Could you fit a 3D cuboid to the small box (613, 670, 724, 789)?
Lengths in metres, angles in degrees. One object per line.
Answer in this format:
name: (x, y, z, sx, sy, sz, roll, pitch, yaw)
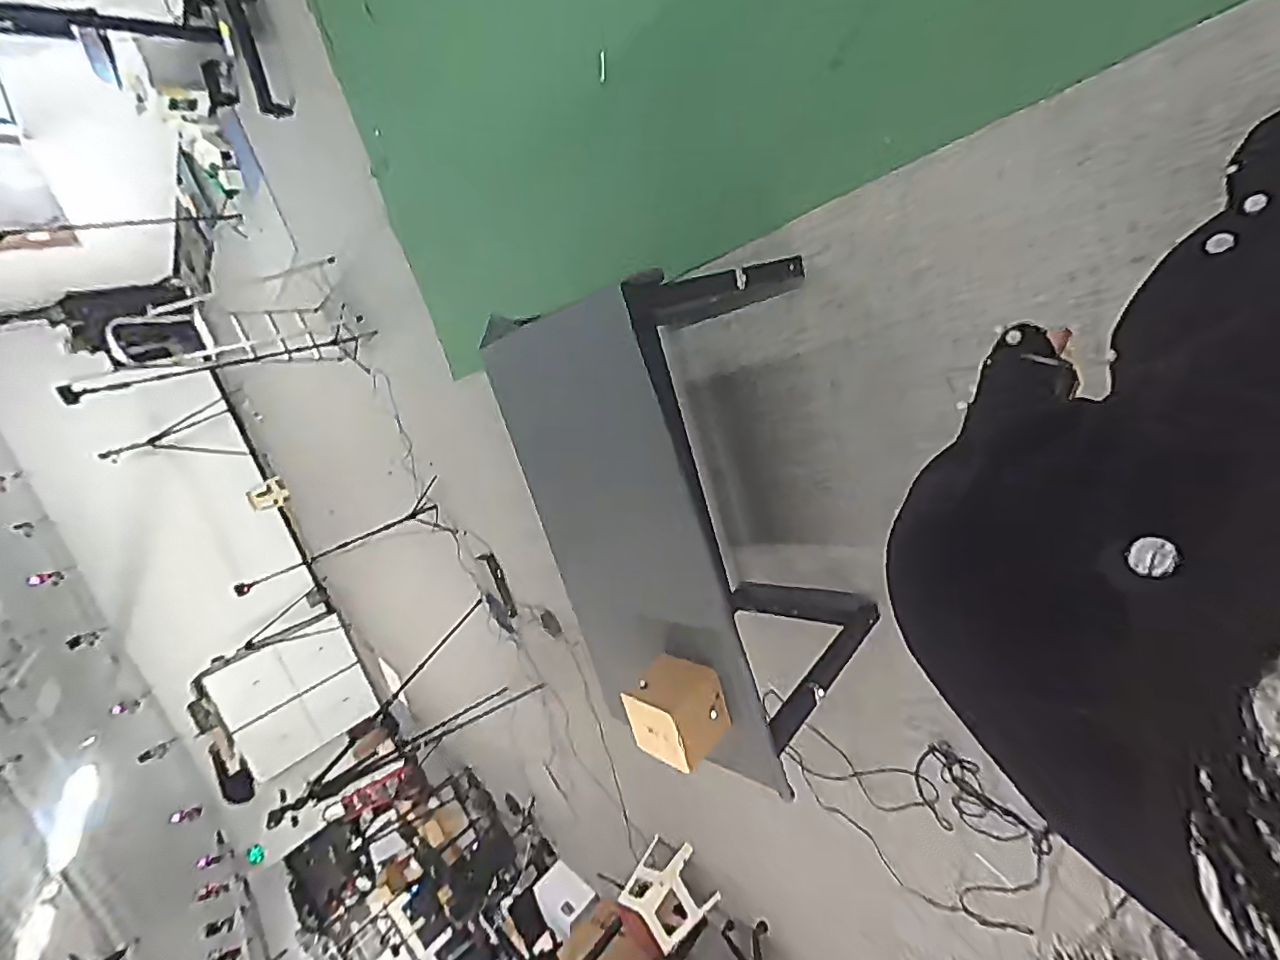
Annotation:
small box: (0.070, 0.575, 1.275, 0.179, 0.176, 0.168, -2, 110, 46)
